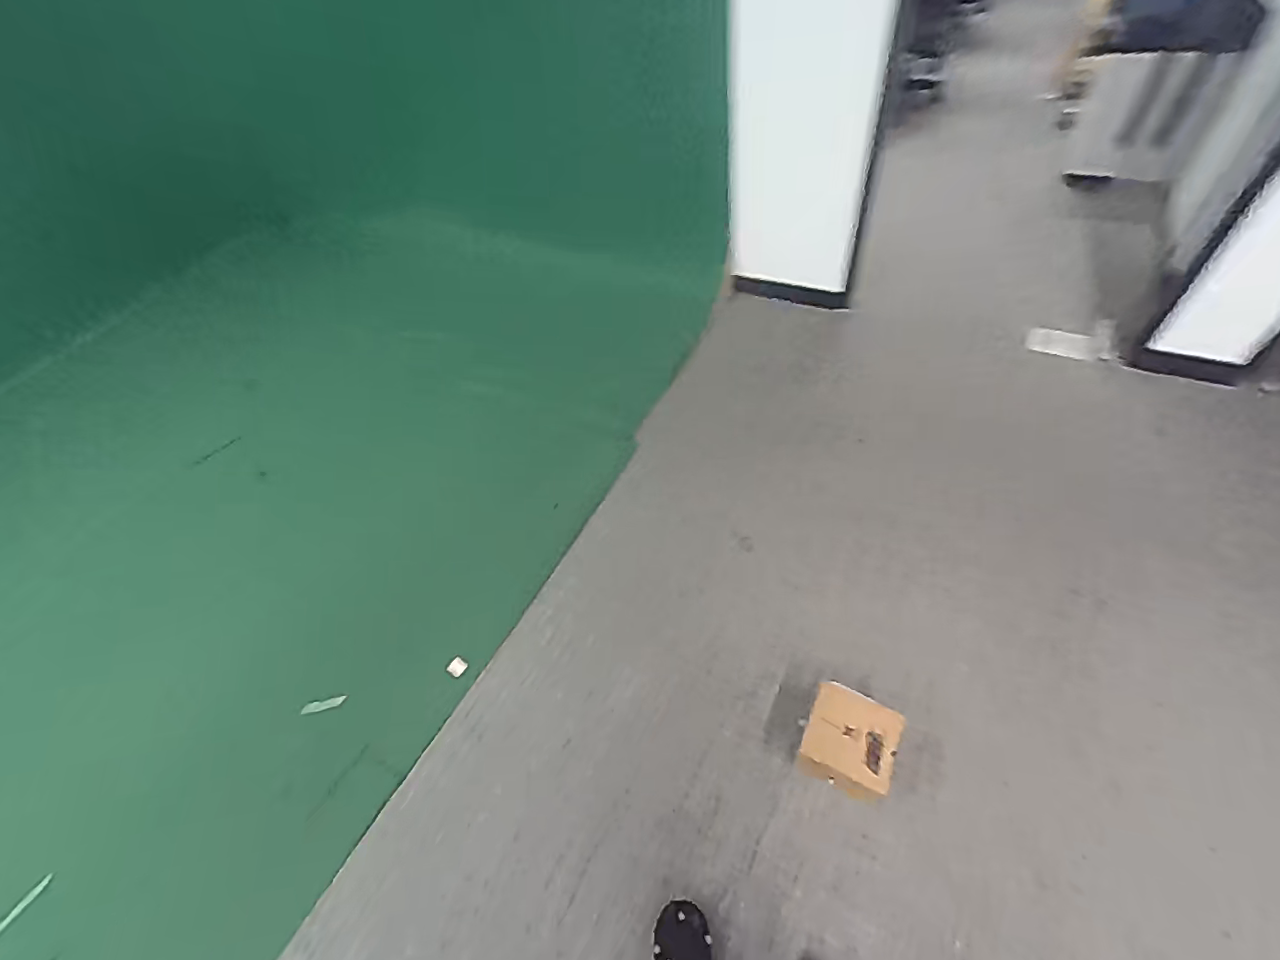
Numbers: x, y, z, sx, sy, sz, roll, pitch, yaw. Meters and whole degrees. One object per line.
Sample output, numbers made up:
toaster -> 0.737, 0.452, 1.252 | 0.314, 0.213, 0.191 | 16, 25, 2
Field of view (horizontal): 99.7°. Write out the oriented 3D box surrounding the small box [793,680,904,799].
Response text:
small box -> 0.452, 0.575, 1.190 | 0.179, 0.176, 0.168 | 20, 59, 24
